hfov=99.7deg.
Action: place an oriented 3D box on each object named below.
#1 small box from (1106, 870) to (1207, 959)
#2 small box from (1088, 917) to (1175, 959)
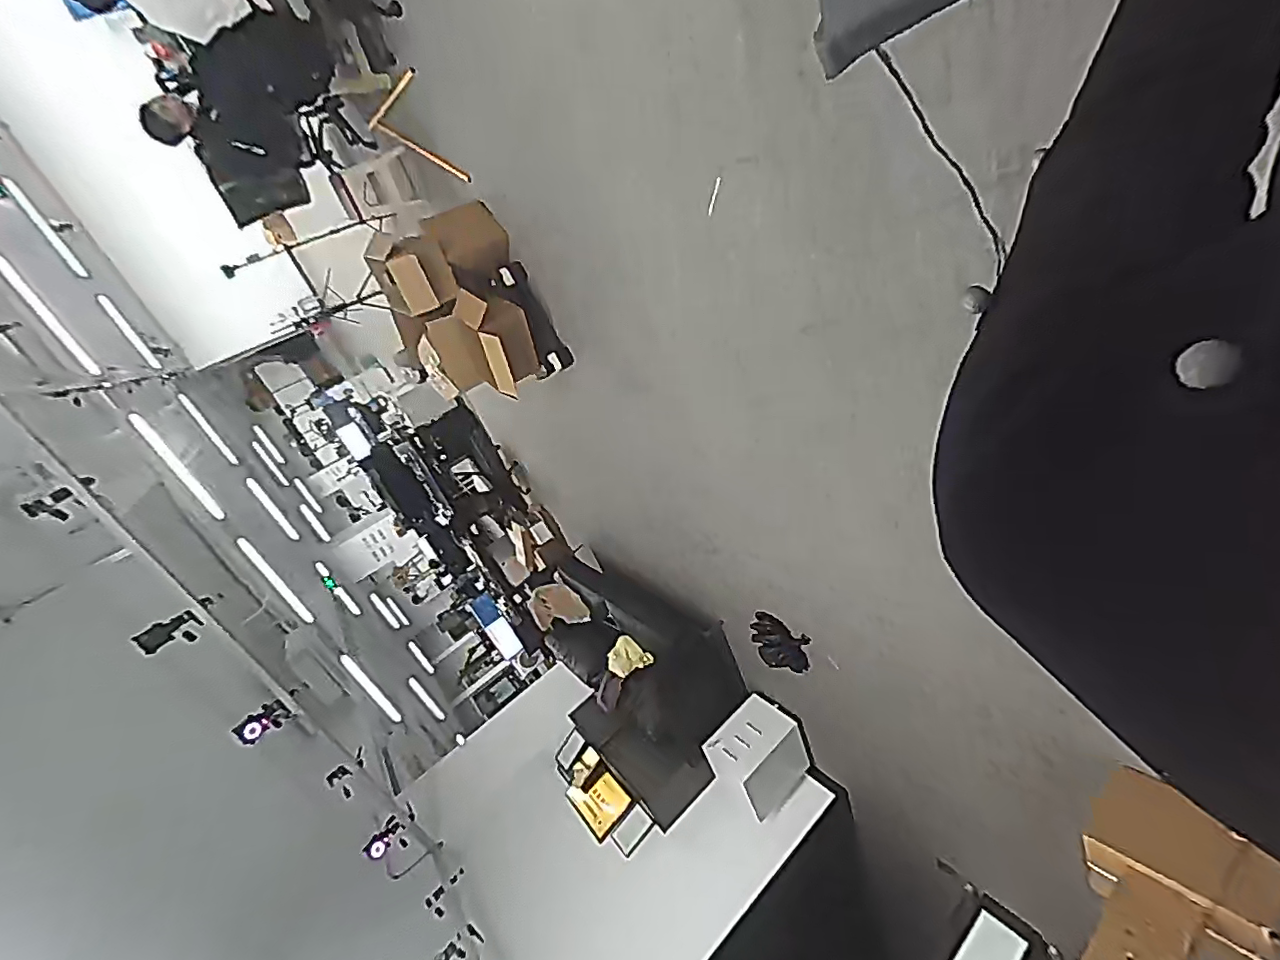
[{"bbox_3d":[1.492,1.286,1.558,0.179,0.176,0.168,14,133,58],"label":"small box"},{"bbox_3d":[1.371,1.377,1.497,0.168,0.176,0.179,12,131,57],"label":"small box"}]
